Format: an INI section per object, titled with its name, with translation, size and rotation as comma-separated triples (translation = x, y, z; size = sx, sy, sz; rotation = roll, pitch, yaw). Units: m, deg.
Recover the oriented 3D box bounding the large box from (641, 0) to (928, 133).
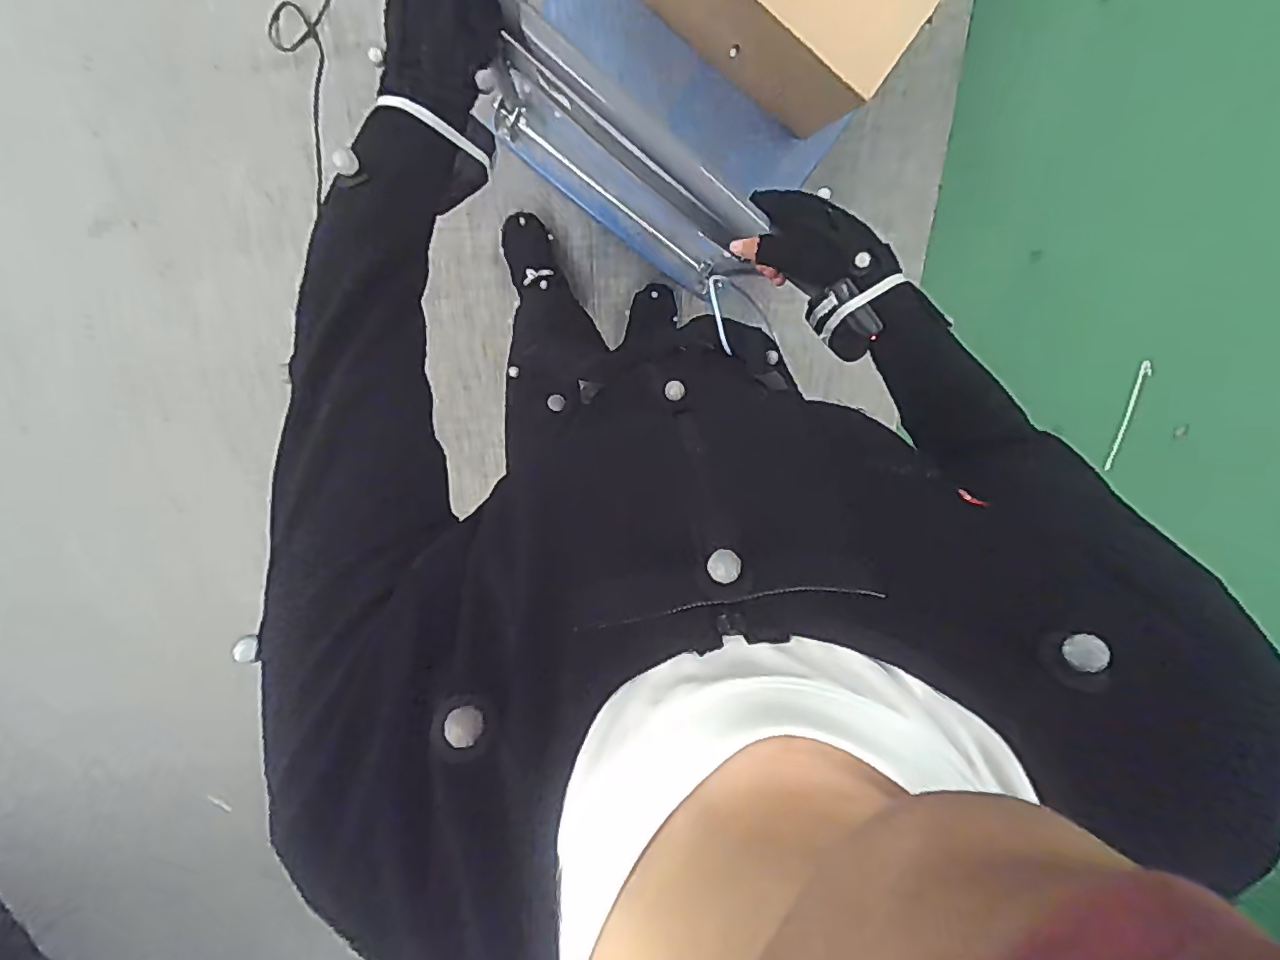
[large box]
translation = 0.244, -0.836, 0.844
size = 0.408, 0.320, 0.320
rotation = 31, 108, -14
